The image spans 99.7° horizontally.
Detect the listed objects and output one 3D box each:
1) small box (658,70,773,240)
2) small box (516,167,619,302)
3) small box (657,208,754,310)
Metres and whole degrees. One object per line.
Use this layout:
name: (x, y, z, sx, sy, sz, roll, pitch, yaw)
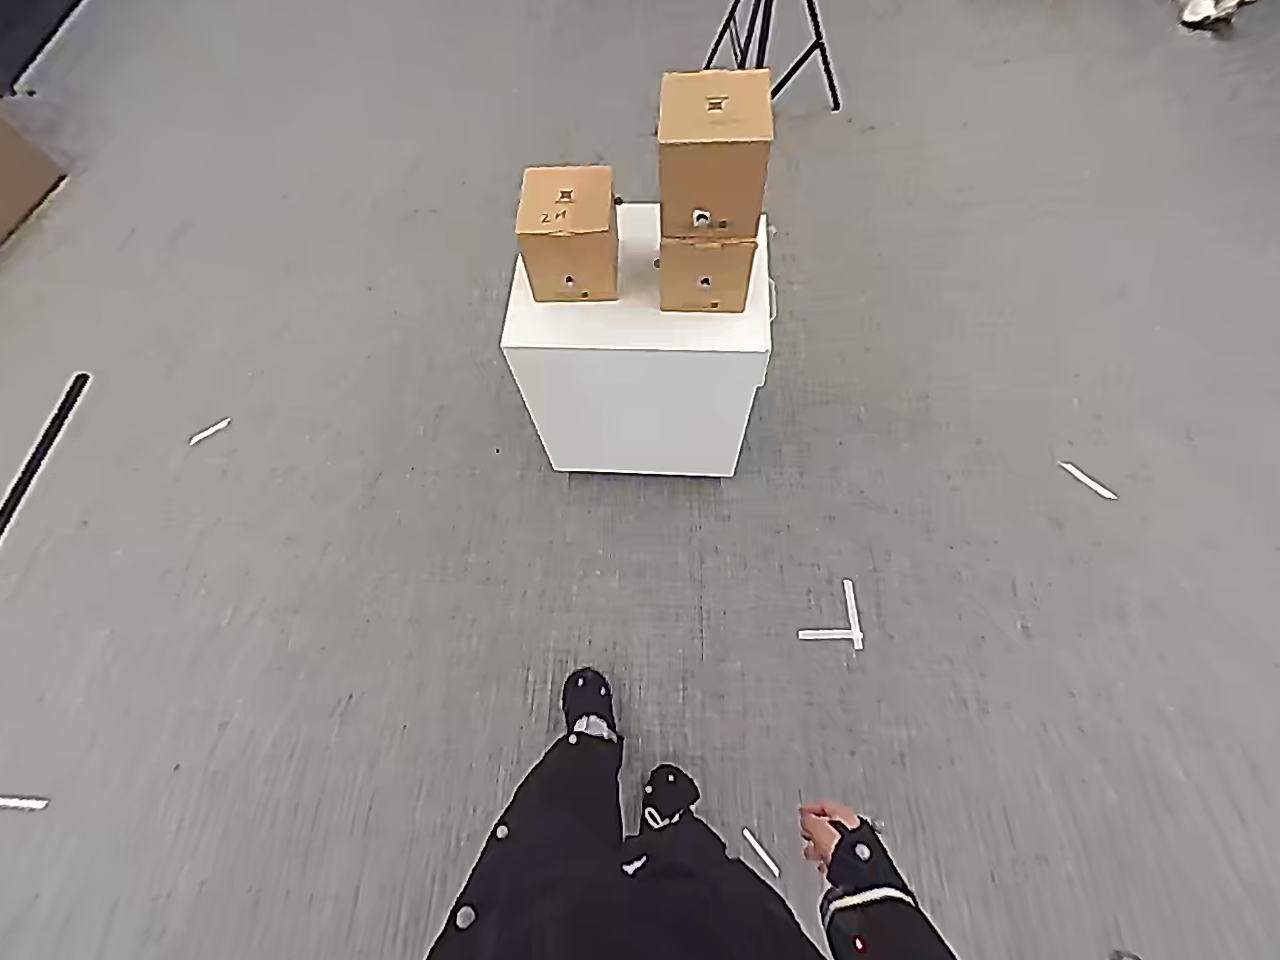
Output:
small box: (0.117, -0.517, 0.870, 0.168, 0.176, 0.179, 1, 66, 5)
small box: (-0.129, -0.467, 1.038, 0.168, 0.176, 0.179, 0, 66, 2)
small box: (0.123, -0.438, 1.014, 0.168, 0.176, 0.179, 2, 67, 5)
